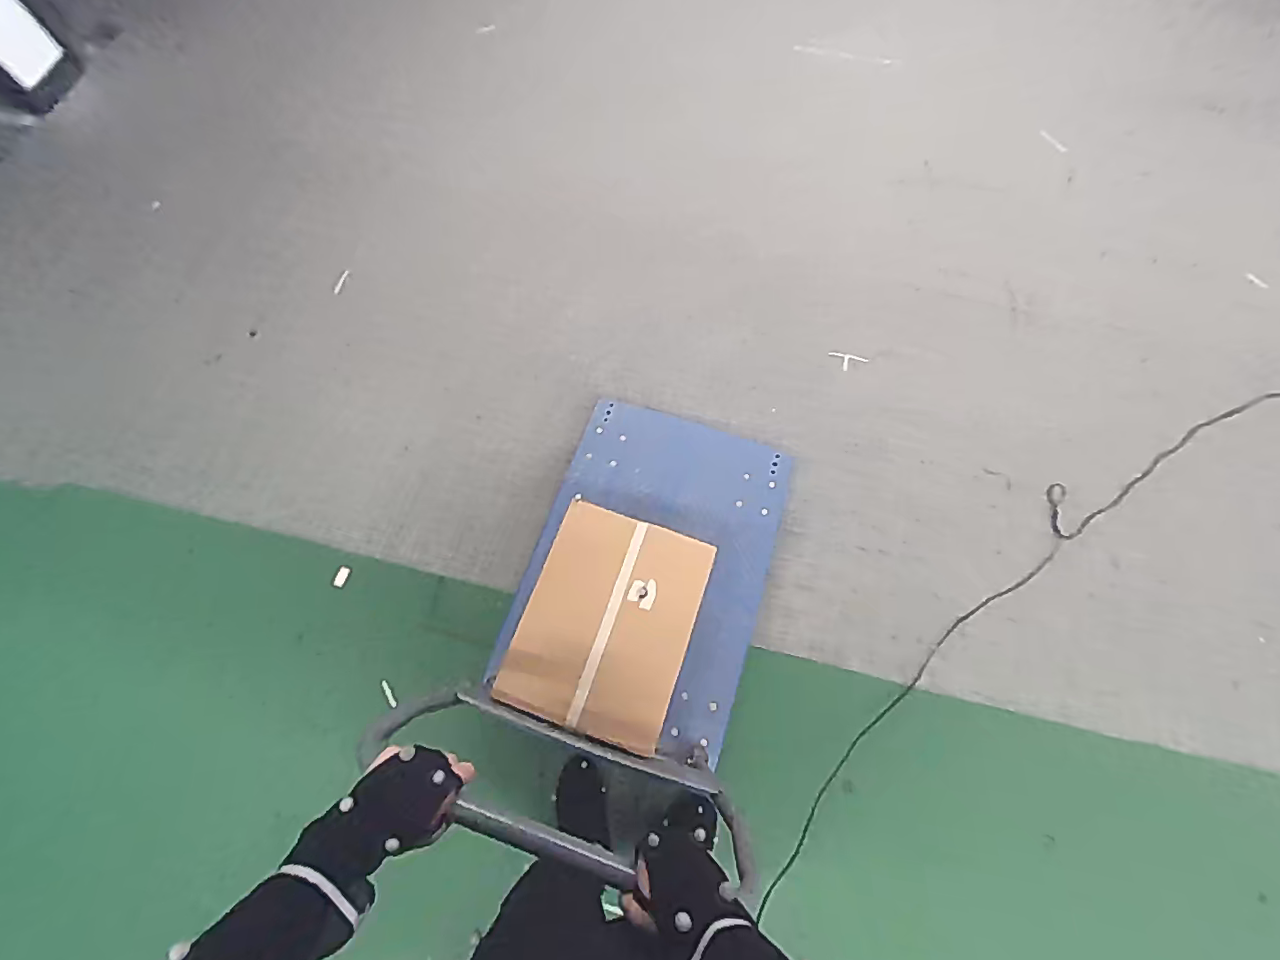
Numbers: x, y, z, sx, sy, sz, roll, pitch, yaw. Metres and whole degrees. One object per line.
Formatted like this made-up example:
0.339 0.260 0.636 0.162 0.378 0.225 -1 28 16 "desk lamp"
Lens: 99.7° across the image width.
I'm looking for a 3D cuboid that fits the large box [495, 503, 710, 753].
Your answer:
-0.065 0.321 1.172 0.320 0.320 0.408 18 69 5 "large box"
